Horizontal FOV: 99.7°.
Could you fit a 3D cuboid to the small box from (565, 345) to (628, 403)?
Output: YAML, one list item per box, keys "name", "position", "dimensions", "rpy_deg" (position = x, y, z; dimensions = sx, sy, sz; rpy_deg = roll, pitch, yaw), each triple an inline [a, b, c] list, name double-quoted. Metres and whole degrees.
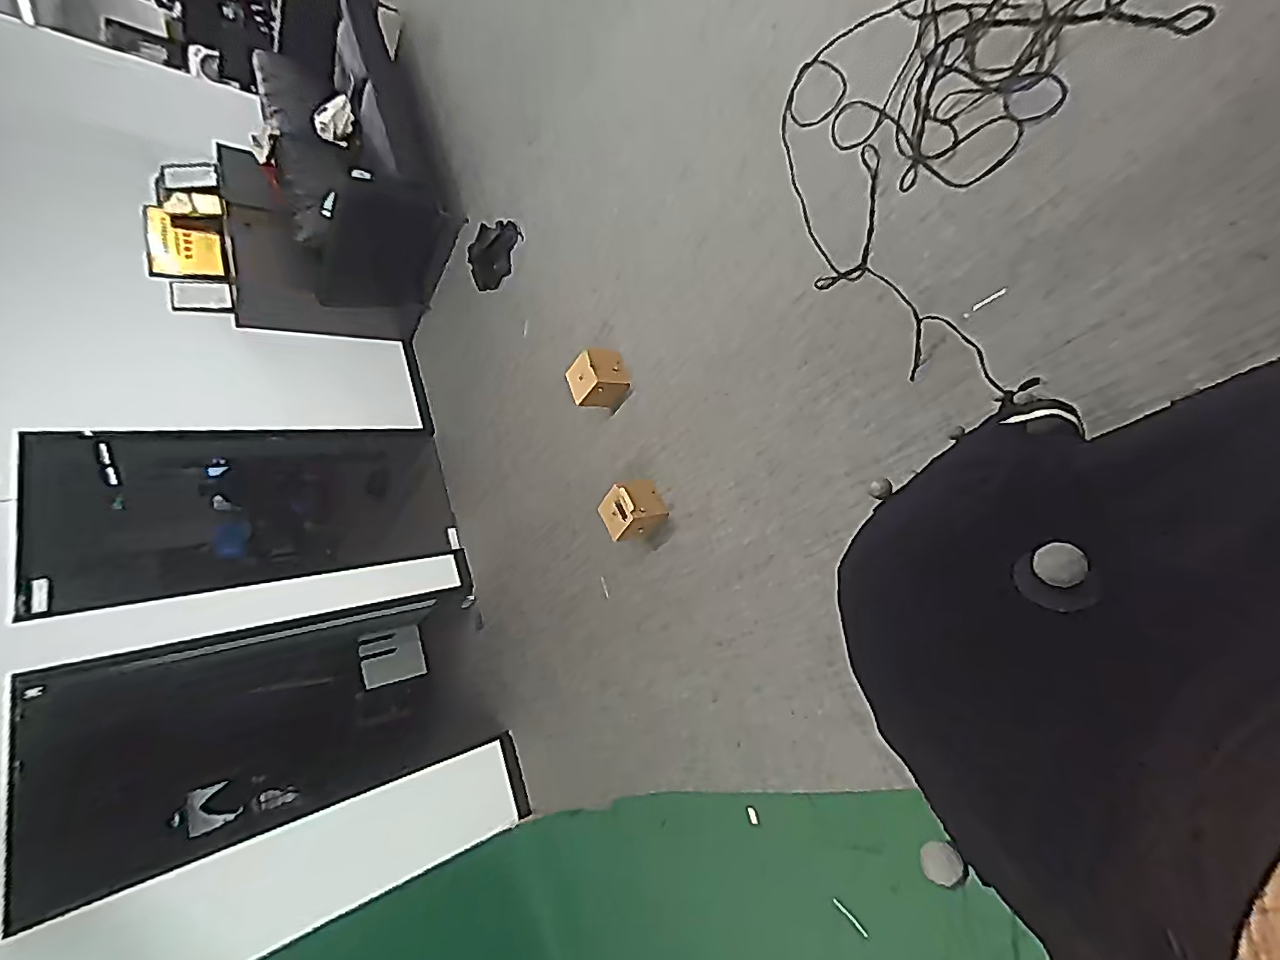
- name: "small box"
  position: [-0.178, -0.429, 2.224]
  dimensions: [0.179, 0.176, 0.168]
  rpy_deg: [-41, 63, 44]
